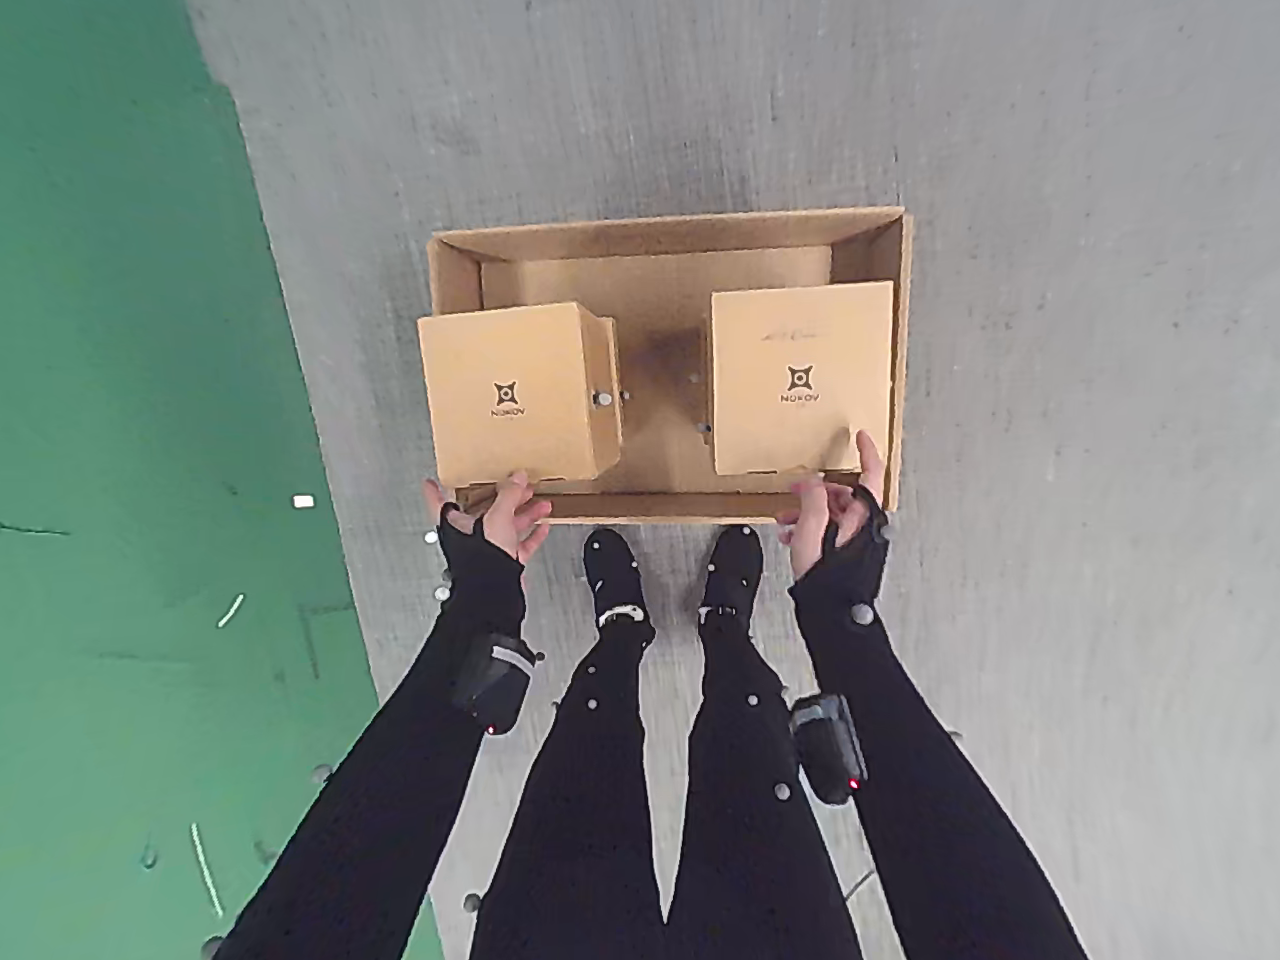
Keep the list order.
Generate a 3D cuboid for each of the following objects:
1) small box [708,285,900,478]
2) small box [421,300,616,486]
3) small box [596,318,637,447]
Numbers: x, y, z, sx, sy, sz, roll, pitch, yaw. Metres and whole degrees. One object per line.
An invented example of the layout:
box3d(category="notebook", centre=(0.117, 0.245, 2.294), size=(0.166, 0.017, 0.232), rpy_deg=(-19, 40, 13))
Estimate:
box3d(category="small box", centre=(0.160, -0.101, 0.581), size=(0.168, 0.176, 0.179), rpy_deg=(-1, 98, 5))
box3d(category="small box", centre=(-0.122, -0.095, 0.613), size=(0.168, 0.176, 0.179), rpy_deg=(-3, 99, 6))
box3d(category="small box", centre=(-0.103, -0.131, 0.772), size=(0.179, 0.176, 0.168), rpy_deg=(-3, 99, 6))
